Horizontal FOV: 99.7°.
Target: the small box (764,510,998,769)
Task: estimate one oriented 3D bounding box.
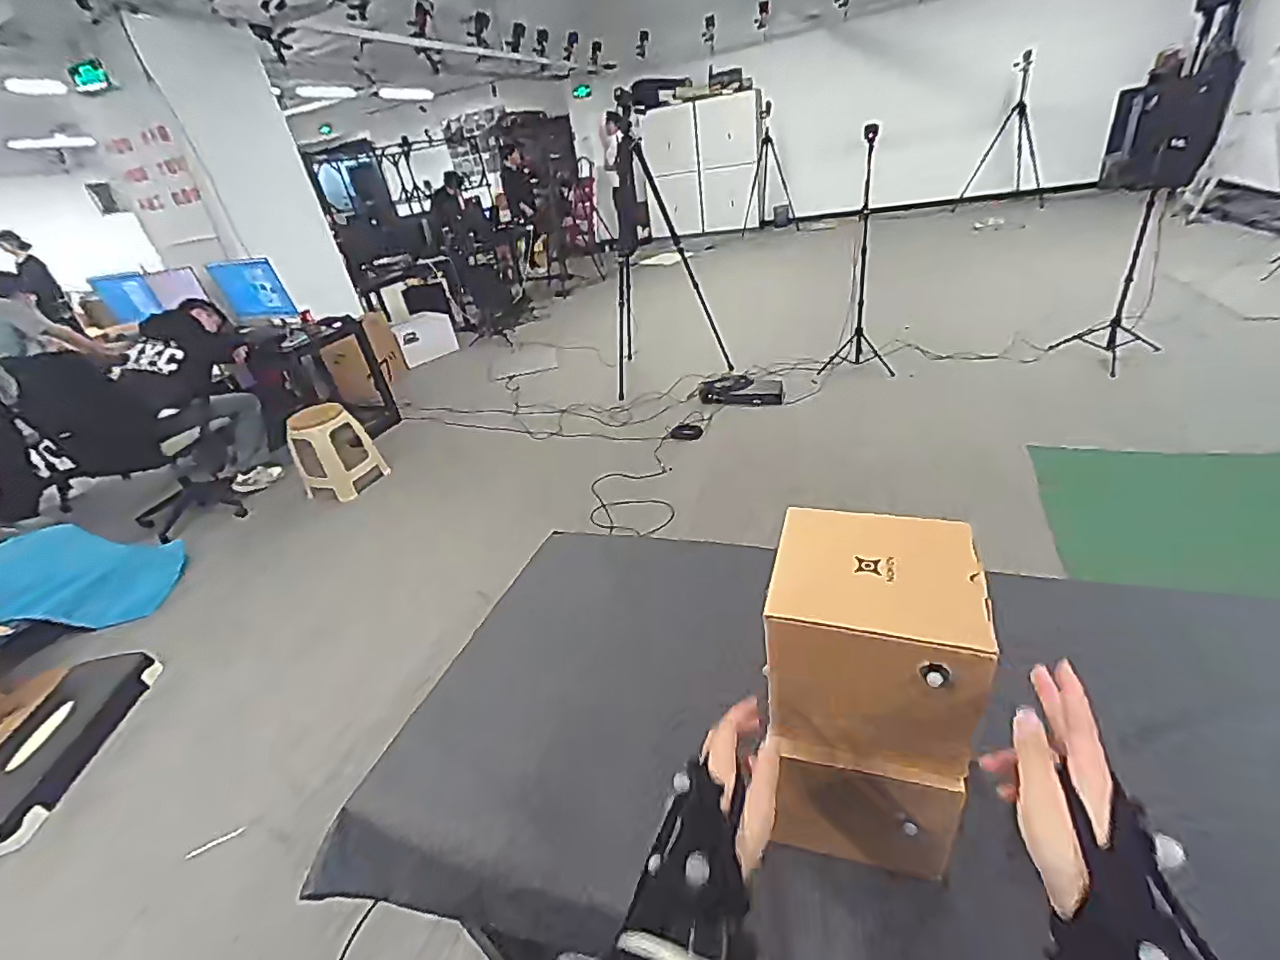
[{"bbox_3d":[0.224,0.149,0.532,0.179,0.176,0.168,4,33,21],"label":"small box"}]
